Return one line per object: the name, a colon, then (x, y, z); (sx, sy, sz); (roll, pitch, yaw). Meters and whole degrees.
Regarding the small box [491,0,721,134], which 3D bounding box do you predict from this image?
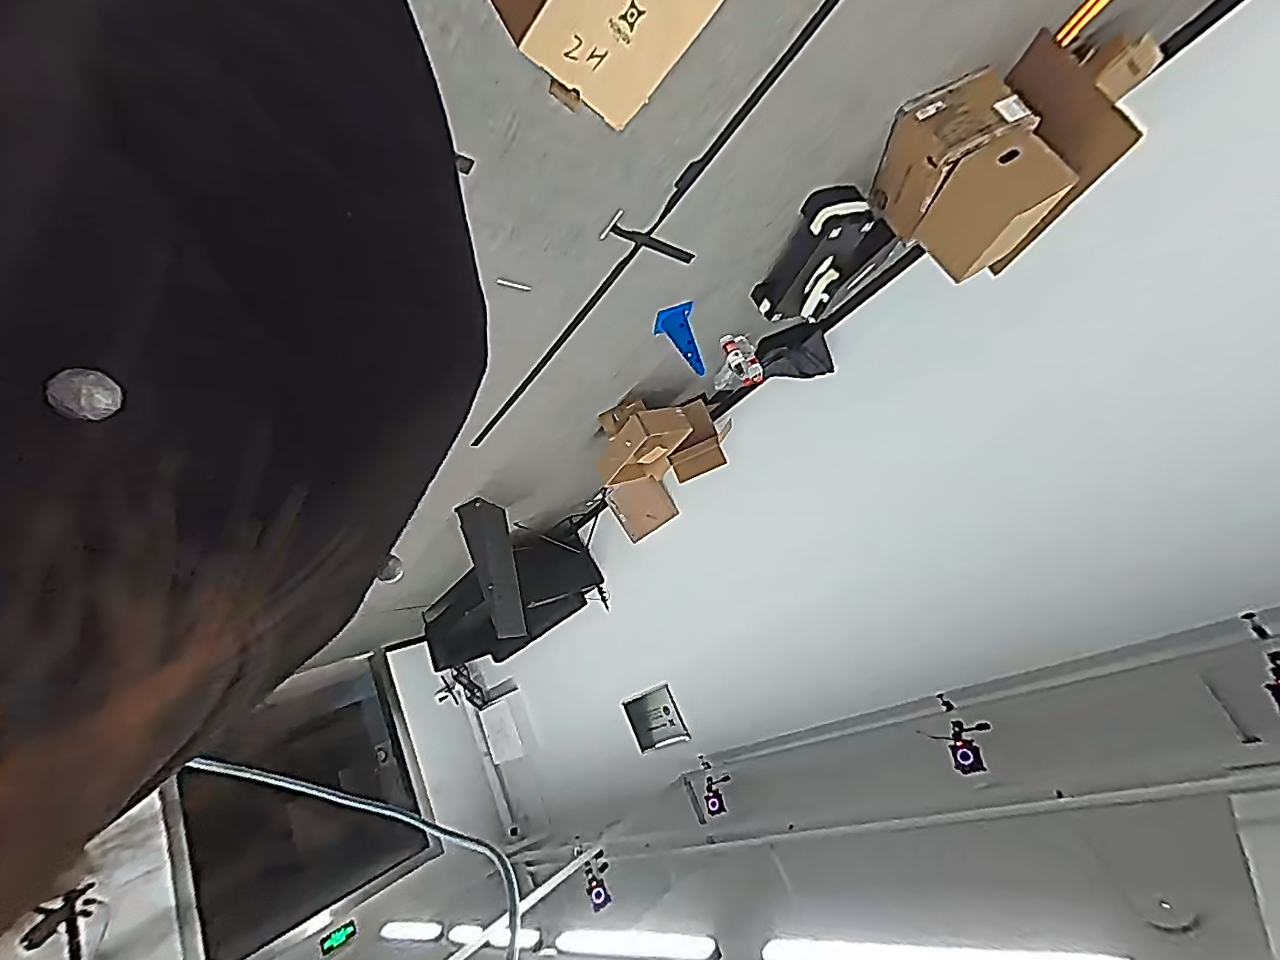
small box: (-0.051, -0.537, 0.580); (0.179, 0.176, 0.168); (-37, 159, 31)
